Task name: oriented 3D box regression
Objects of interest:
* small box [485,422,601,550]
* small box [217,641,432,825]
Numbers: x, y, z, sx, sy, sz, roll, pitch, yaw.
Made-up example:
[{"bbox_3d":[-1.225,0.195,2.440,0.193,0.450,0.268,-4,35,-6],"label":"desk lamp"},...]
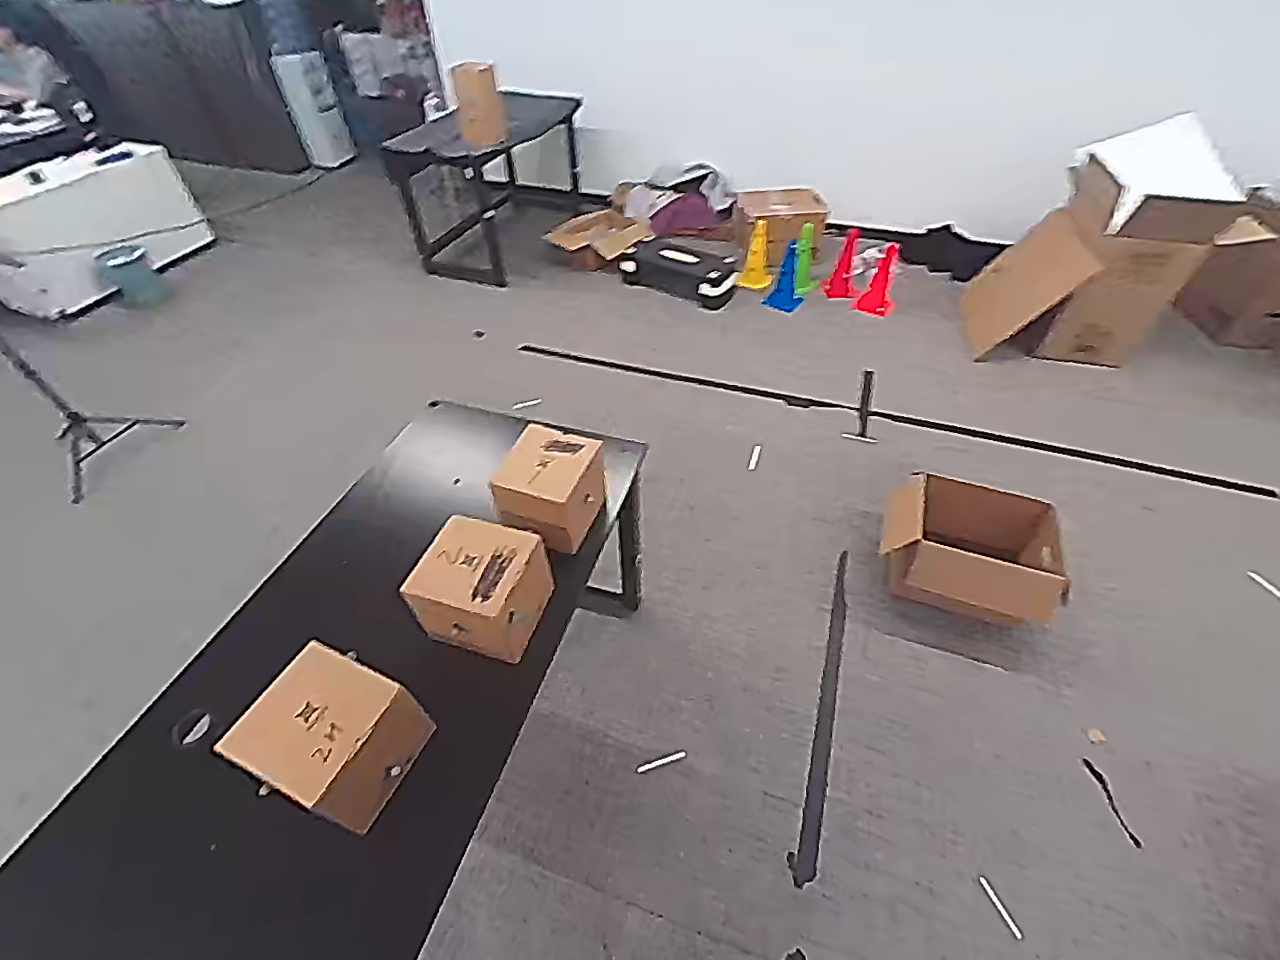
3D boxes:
[{"bbox_3d":[-0.187,0.012,1.106,0.168,0.176,0.179,14,51,15],"label":"small box"},{"bbox_3d":[-0.441,0.370,0.786,0.179,0.176,0.168,17,51,16],"label":"small box"}]
